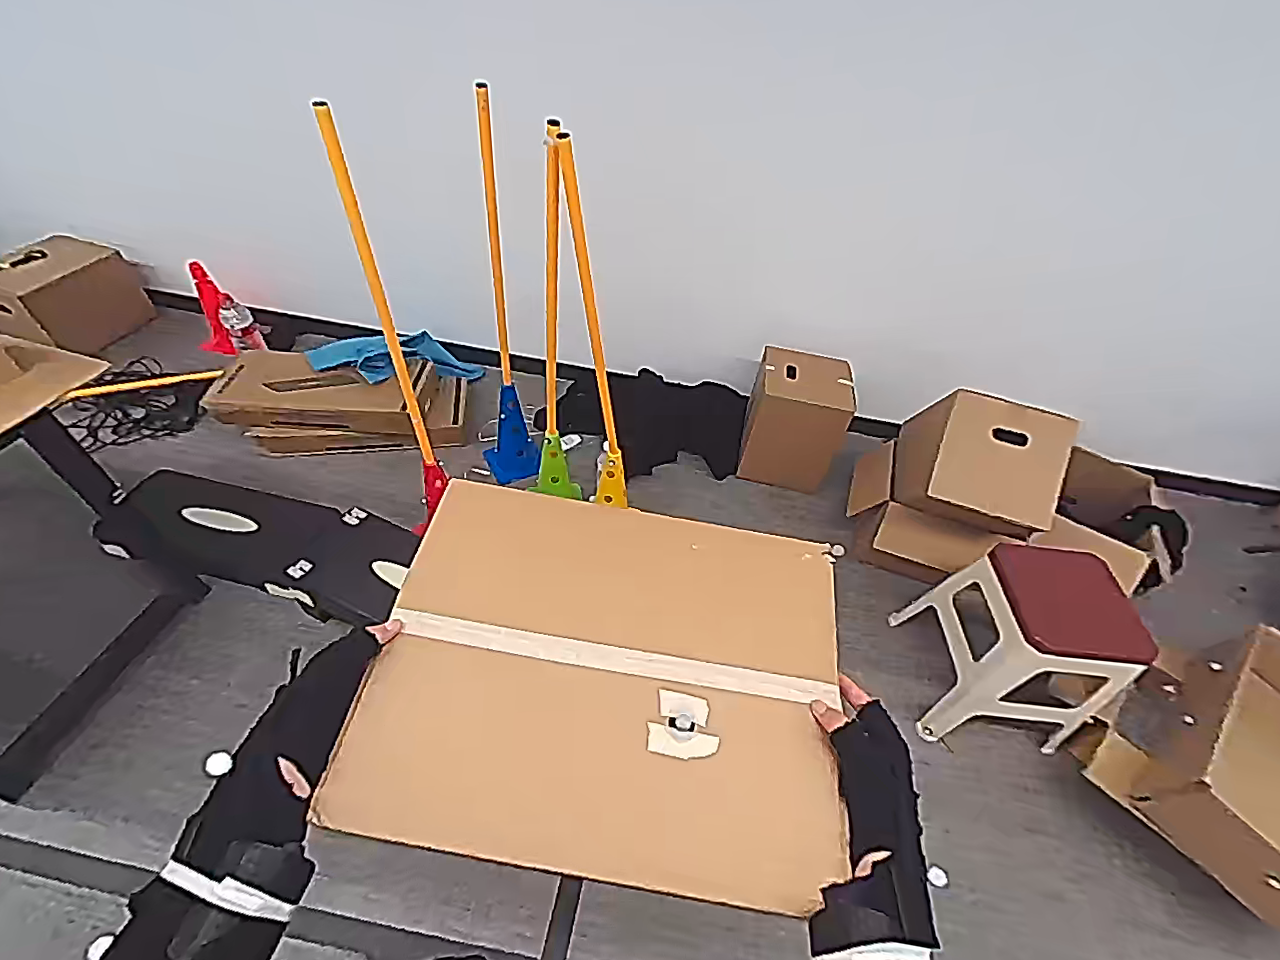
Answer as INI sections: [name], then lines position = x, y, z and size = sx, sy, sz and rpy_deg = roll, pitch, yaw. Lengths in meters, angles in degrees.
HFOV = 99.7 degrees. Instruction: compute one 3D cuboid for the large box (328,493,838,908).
[large box]
position = -0.039, 0.252, 0.615
size = 0.408, 0.320, 0.320
rpy_deg = 10, 56, 1
